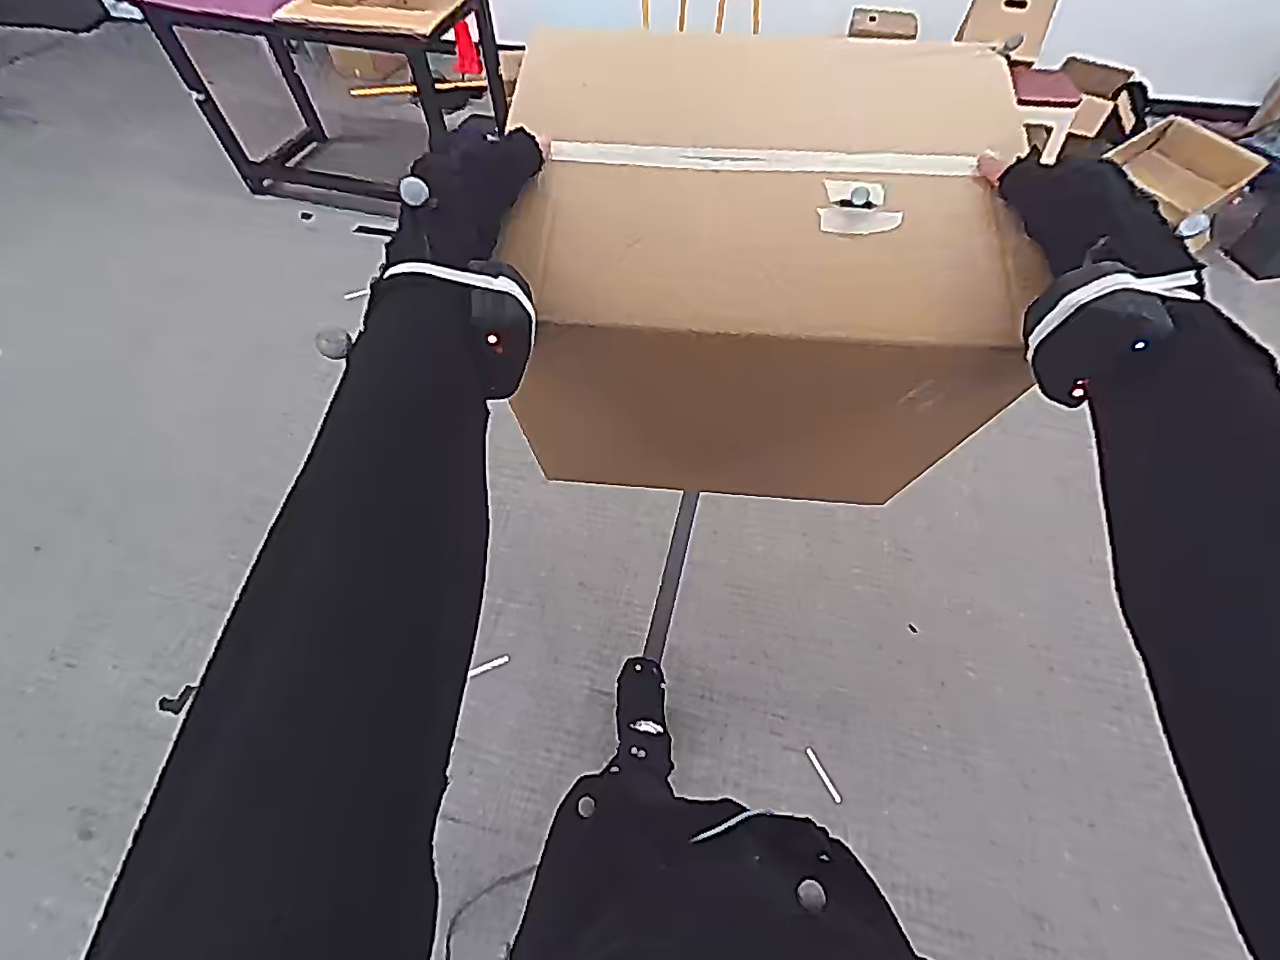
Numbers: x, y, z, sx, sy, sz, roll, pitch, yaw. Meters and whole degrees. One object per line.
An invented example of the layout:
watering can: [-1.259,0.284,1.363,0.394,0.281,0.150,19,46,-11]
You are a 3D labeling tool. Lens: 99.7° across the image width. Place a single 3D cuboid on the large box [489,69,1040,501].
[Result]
large box: [0.094,-0.177,0.578,0.408,0.320,0.320,4,69,2]
